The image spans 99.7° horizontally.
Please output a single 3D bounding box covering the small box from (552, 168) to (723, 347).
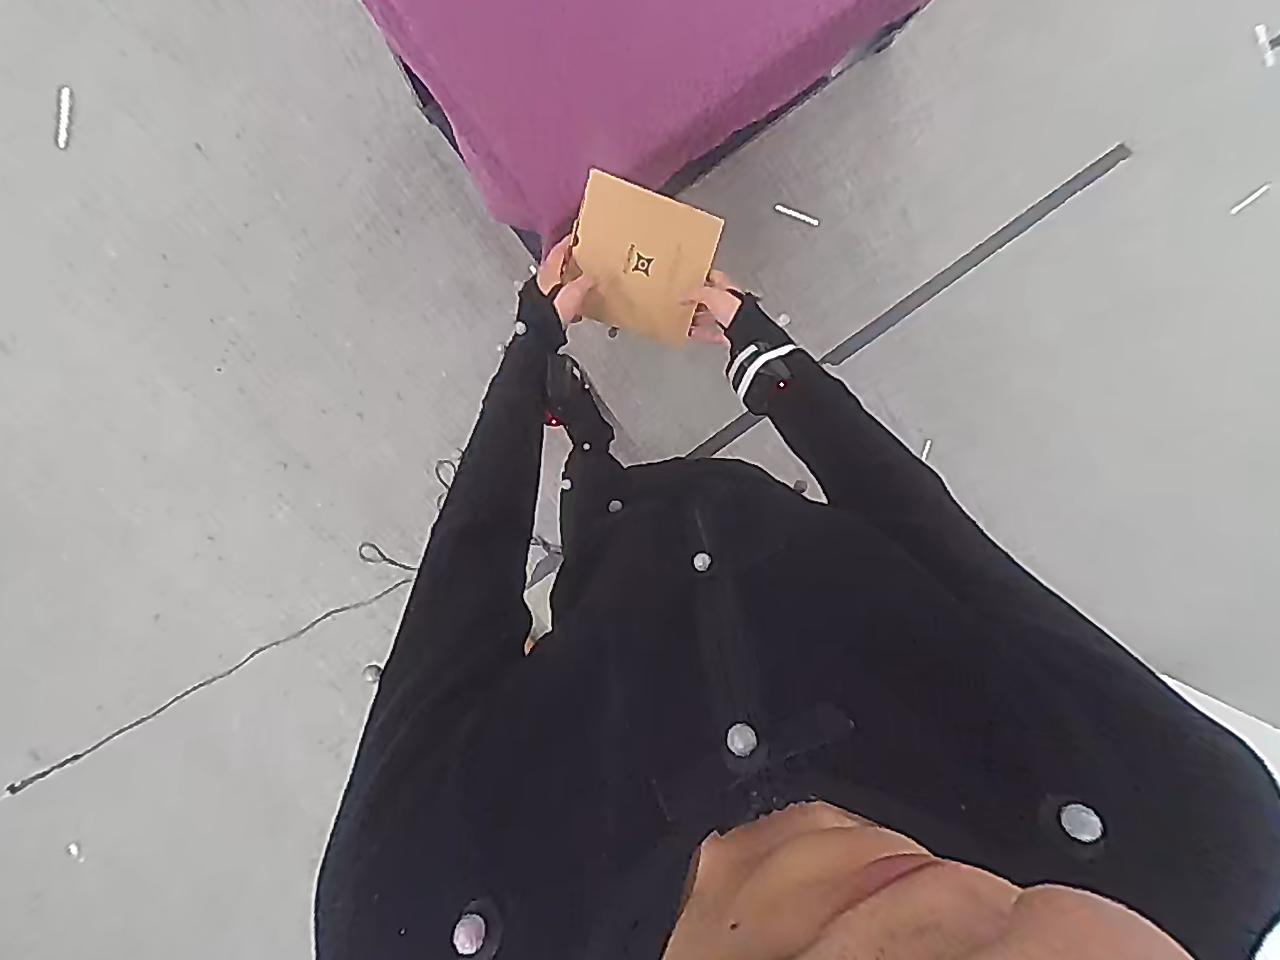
[{"bbox_3d":[-0.014,-0.292,0.741,0.179,0.176,0.168,15,106,-12],"label":"small box"}]
